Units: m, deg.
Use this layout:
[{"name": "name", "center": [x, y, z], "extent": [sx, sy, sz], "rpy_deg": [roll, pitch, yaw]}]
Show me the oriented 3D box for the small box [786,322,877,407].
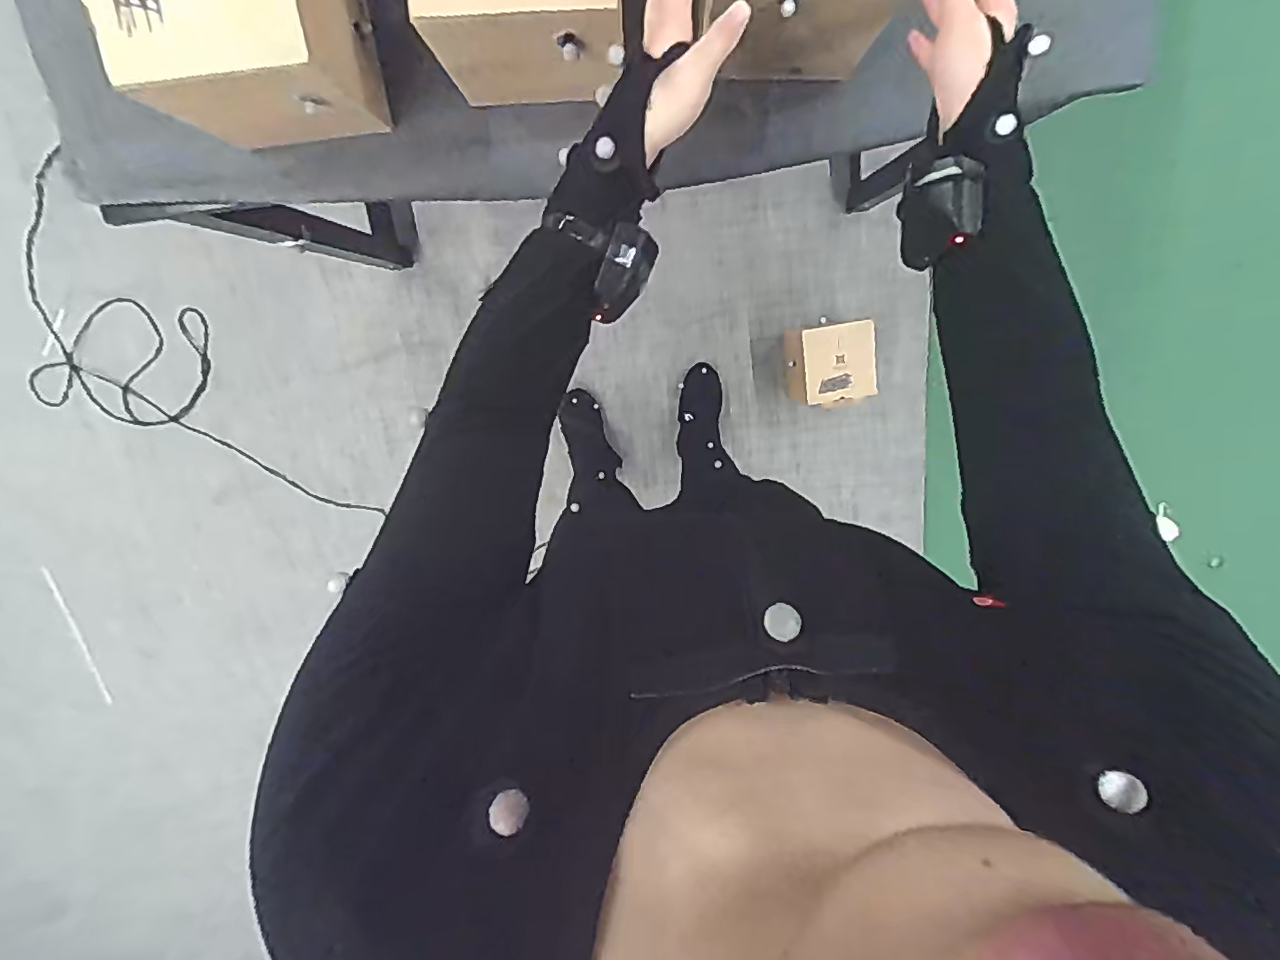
[{"name": "small box", "center": [0.460, -0.283, 1.311], "extent": [0.168, 0.176, 0.179], "rpy_deg": [-8, 104, 3]}]
